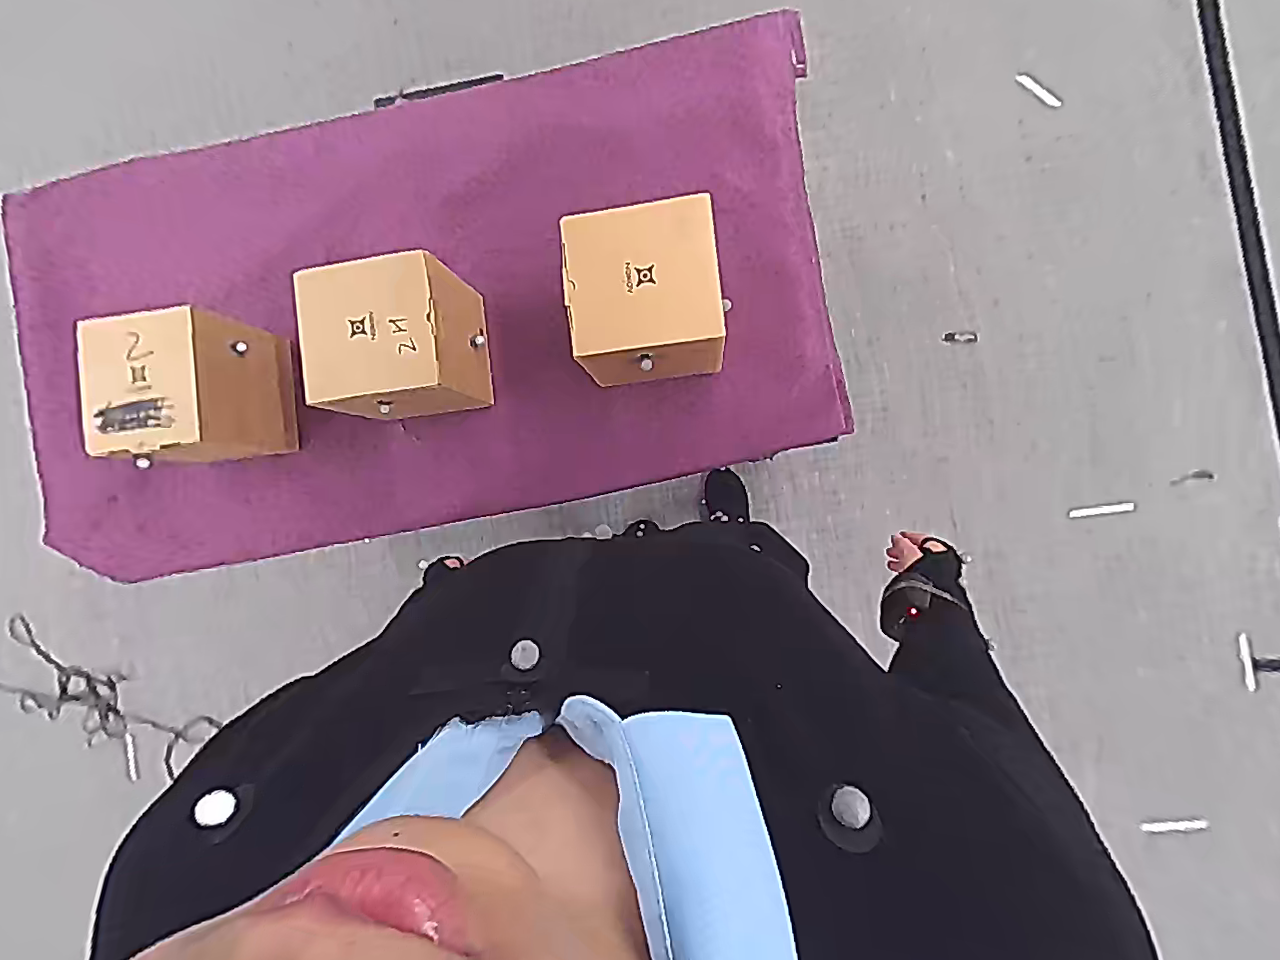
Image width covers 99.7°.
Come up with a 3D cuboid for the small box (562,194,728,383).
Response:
[{"bbox_3d":[0.013,-0.228,0.686,0.179,0.176,0.168,-6,87,7],"label":"small box"}]

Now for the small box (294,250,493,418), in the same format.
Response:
[{"bbox_3d":[-0.318,-0.181,0.723,0.179,0.176,0.168,-6,89,6],"label":"small box"}]
